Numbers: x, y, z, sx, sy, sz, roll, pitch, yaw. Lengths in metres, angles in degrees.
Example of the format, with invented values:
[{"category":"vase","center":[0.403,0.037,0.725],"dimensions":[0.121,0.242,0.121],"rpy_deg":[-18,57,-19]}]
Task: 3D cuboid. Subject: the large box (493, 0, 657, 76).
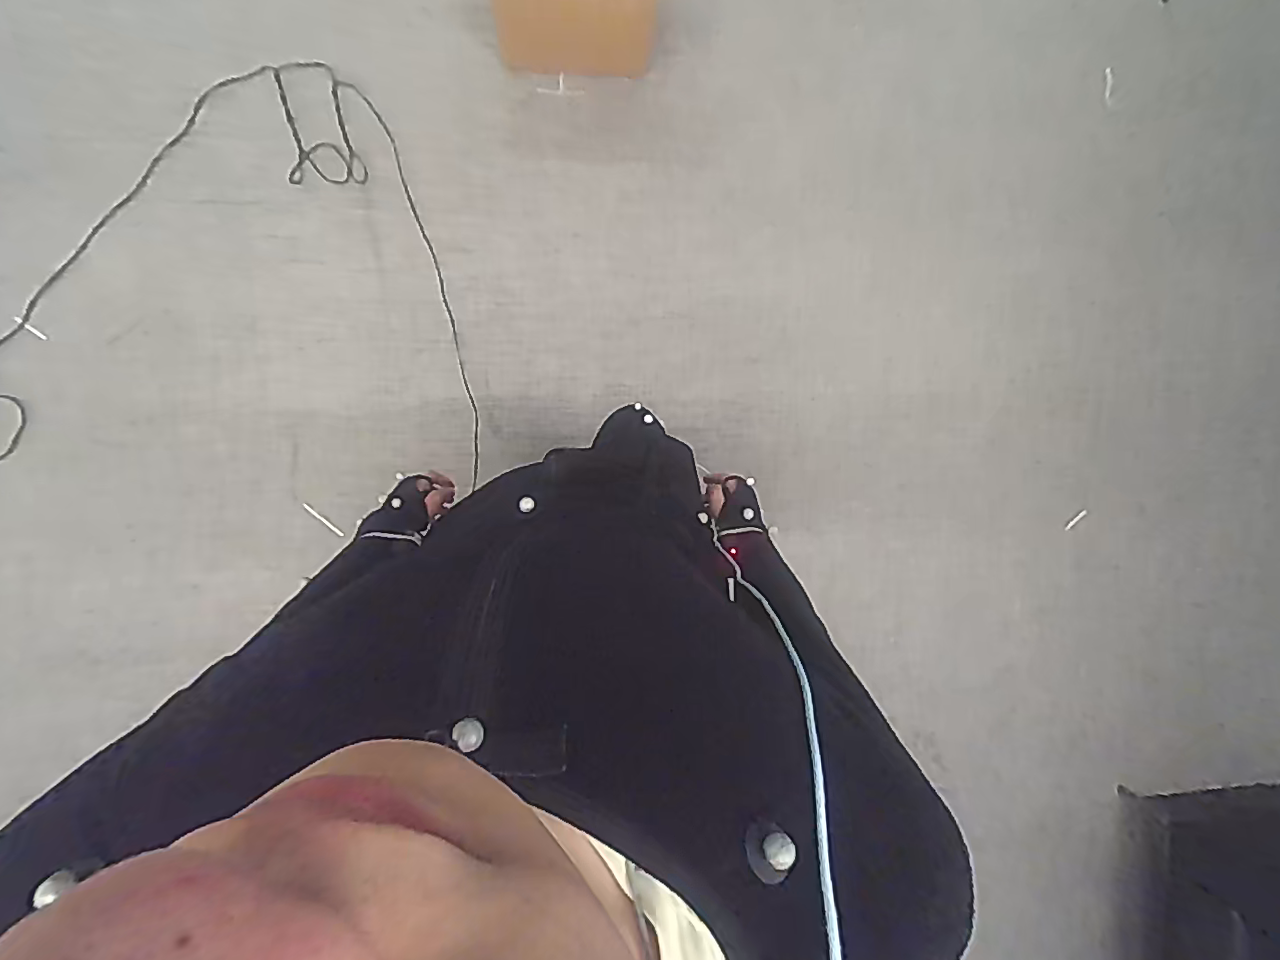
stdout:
[{"category":"large box","center":[-0.180,-1.312,1.409],"dimensions":[0.408,0.320,0.320],"rpy_deg":[-3,94,-7]}]
